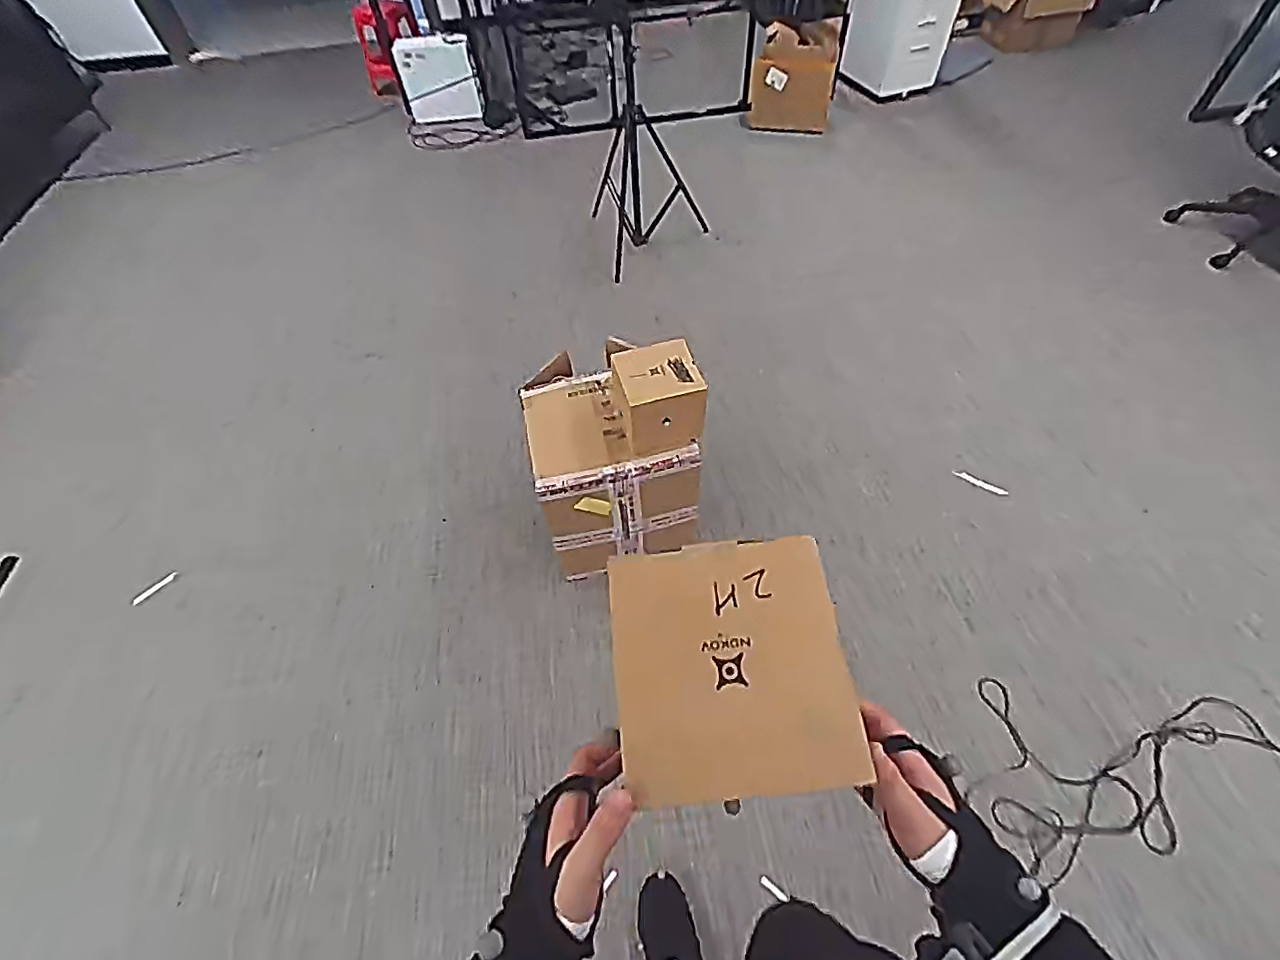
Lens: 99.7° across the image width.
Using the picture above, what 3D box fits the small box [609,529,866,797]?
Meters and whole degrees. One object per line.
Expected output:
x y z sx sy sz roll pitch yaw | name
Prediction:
0.067 0.160 0.465 0.168 0.176 0.179 -6 62 0 | small box

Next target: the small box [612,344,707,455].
0.040 -0.182 1.246 0.179 0.176 0.168 -15 57 -8 | small box
